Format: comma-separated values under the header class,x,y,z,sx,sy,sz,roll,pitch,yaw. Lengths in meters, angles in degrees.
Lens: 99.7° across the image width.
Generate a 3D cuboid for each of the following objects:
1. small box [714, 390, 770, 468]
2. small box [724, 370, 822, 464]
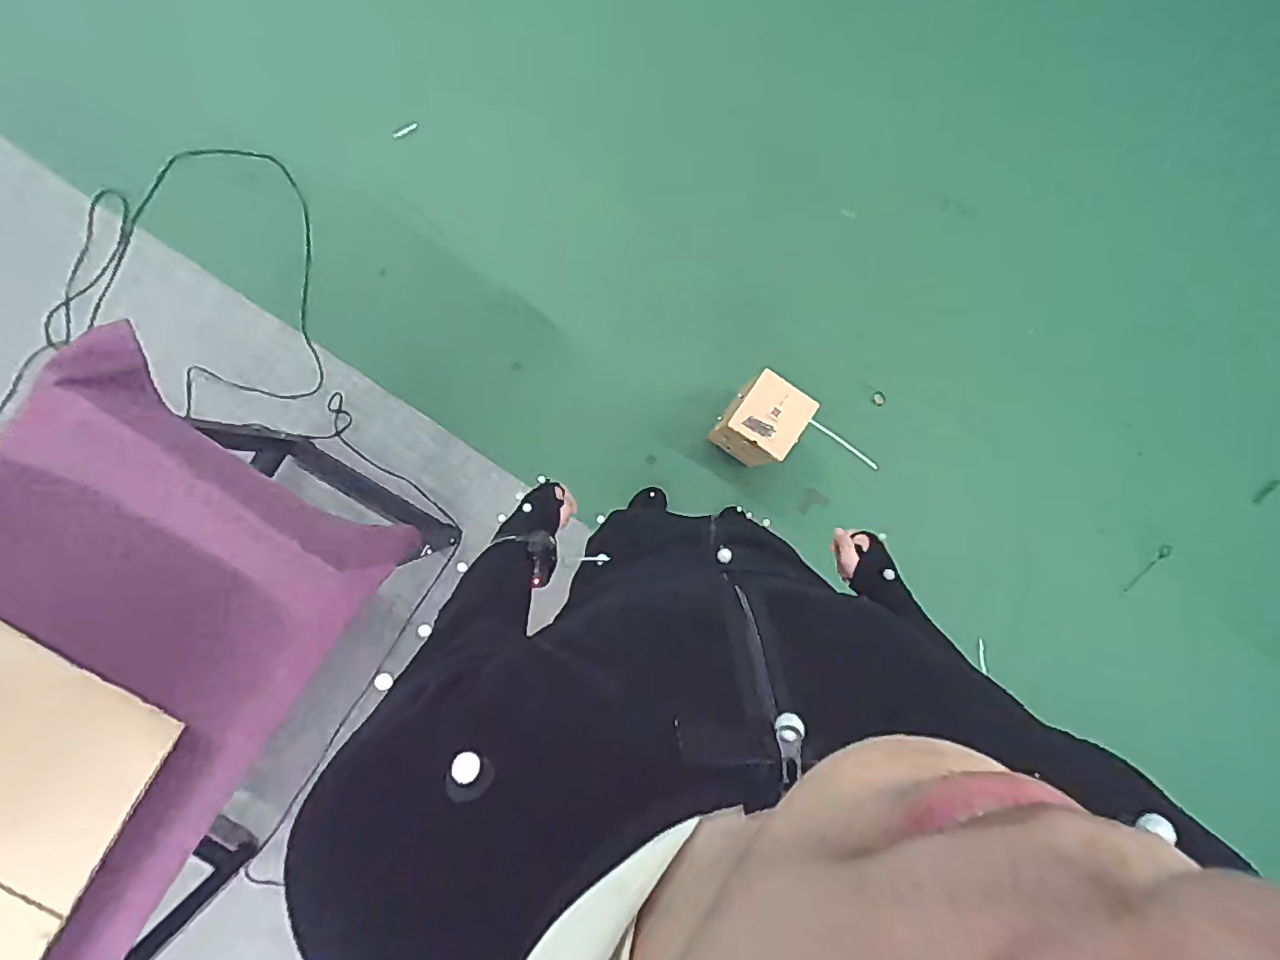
class,x,y,z,sx,sy,sz,roll,pitch,yaw
small box,0.333,-0.151,1.570,0.168,0.176,0.179,34,89,0
small box,0.335,-0.153,1.406,0.168,0.176,0.179,34,88,-1
